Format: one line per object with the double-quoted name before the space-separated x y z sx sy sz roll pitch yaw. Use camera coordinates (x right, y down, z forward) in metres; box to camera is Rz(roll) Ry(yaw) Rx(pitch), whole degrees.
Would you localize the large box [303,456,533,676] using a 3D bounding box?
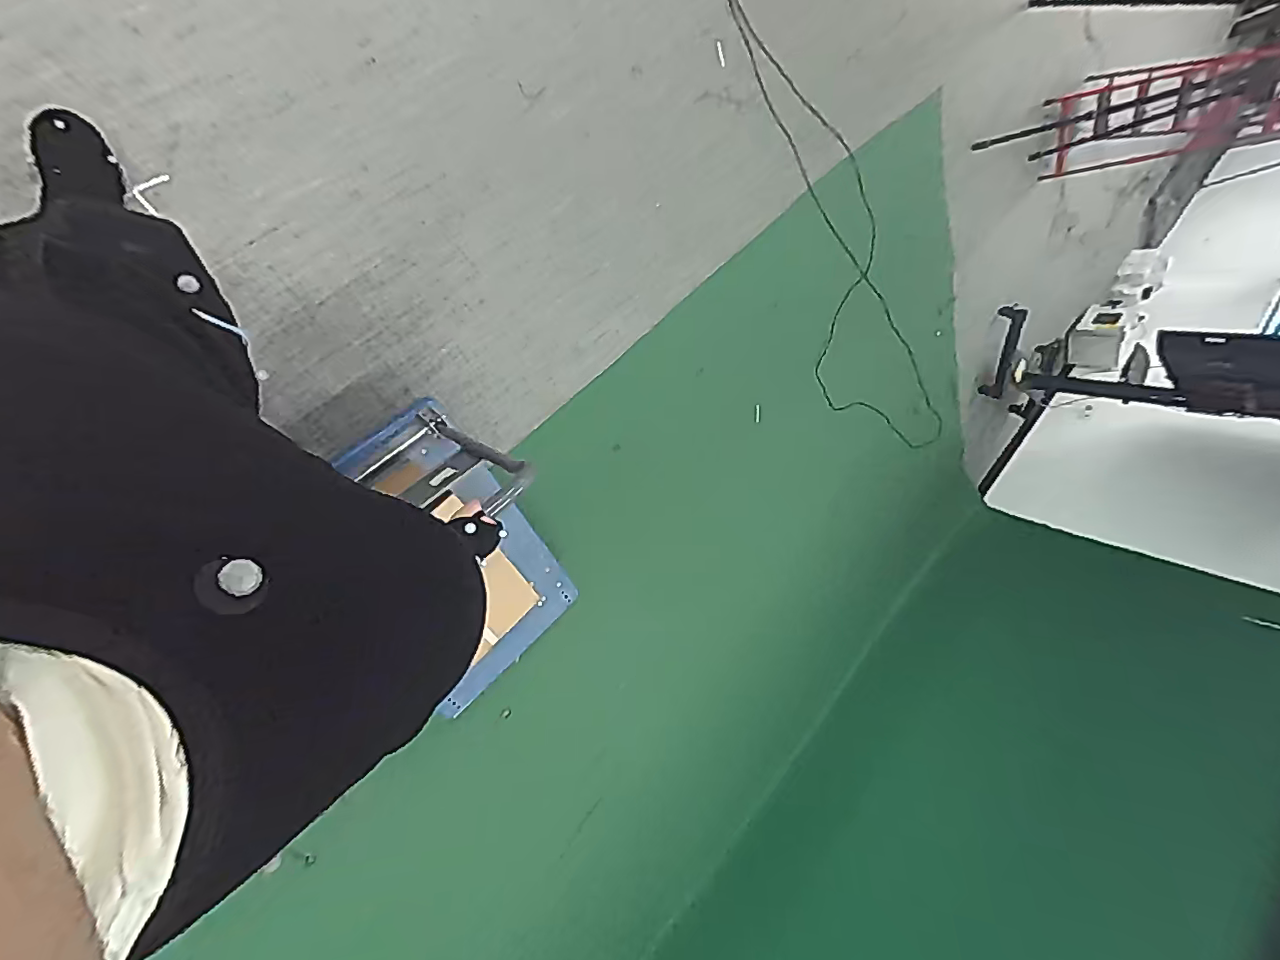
"large box" -0.556 0.208 1.375 0.320 0.320 0.408 -43 129 -20
